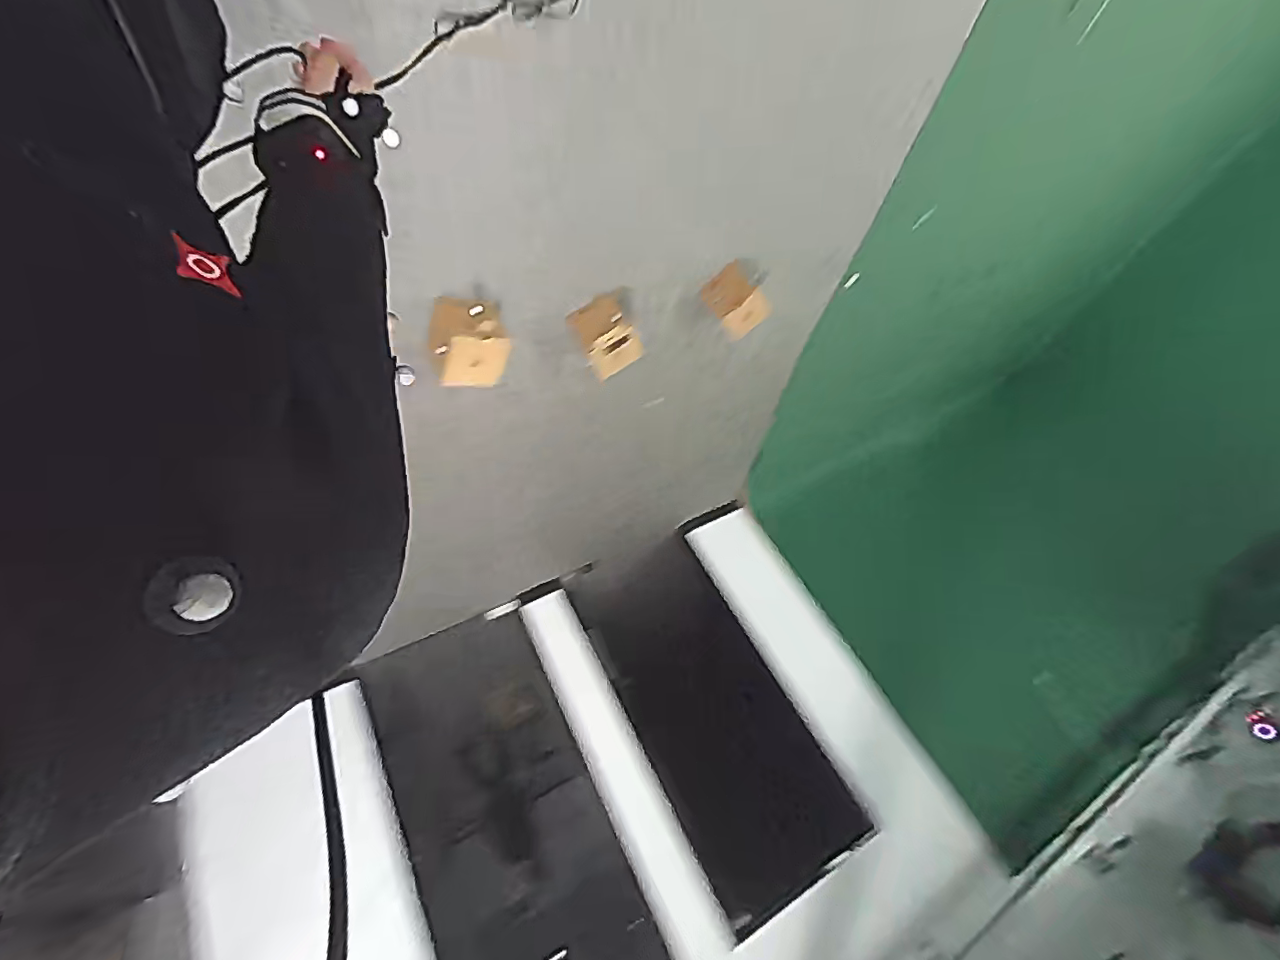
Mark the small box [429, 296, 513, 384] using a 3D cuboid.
[{"bbox_3d":[-0.487,-0.394,1.539,0.168,0.176,0.179,-8,145,-39],"label":"small box"}]

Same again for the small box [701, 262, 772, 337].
[{"bbox_3d":[0.352,-0.667,1.985,0.168,0.176,0.179,-40,154,17],"label":"small box"}]
